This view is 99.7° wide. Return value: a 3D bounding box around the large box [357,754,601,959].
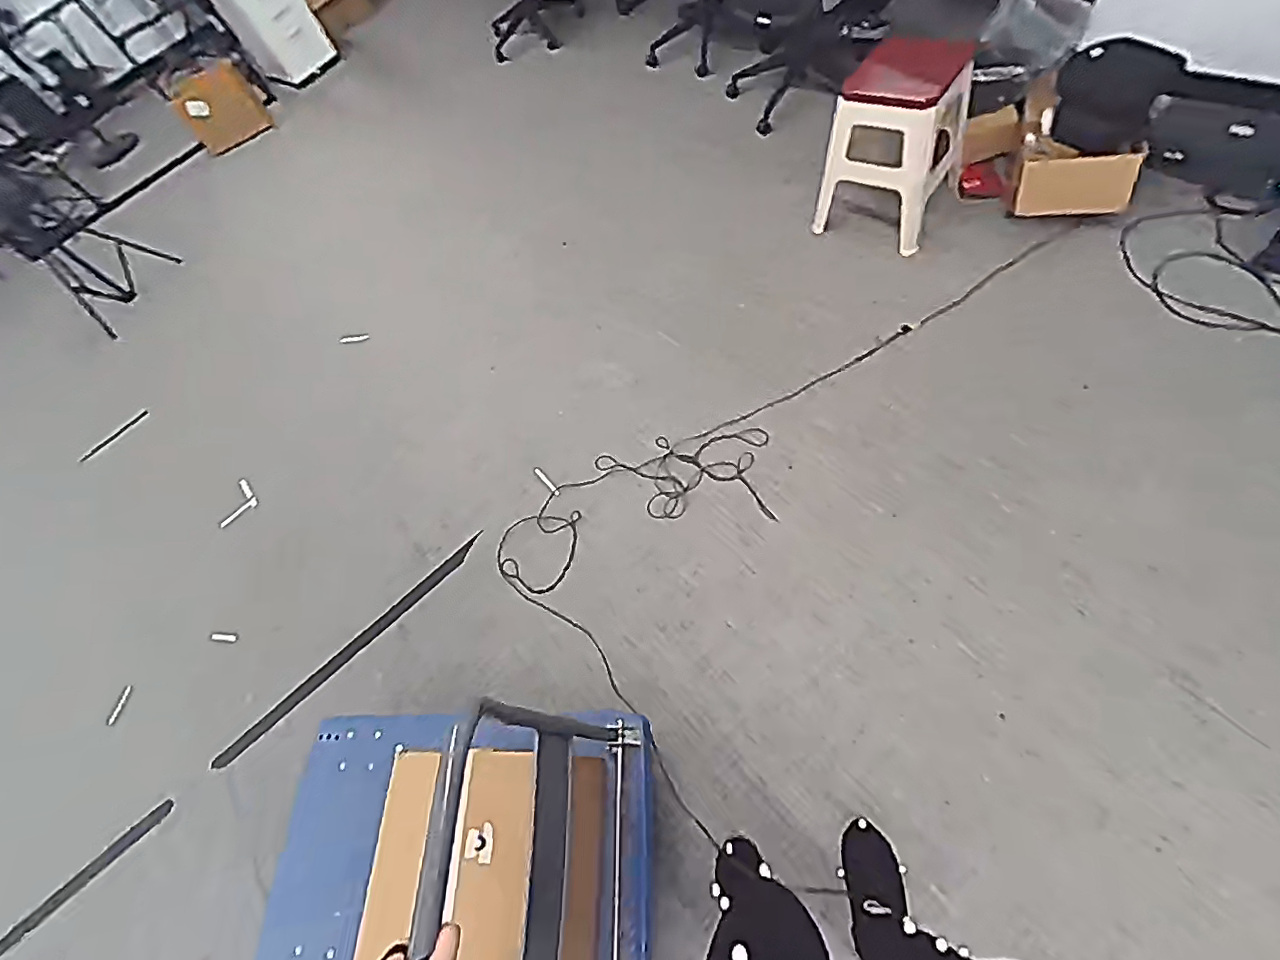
[{"bbox_3d":[-0.267,0.741,1.000,0.320,0.320,0.408,-5,60,12],"label":"large box"}]
